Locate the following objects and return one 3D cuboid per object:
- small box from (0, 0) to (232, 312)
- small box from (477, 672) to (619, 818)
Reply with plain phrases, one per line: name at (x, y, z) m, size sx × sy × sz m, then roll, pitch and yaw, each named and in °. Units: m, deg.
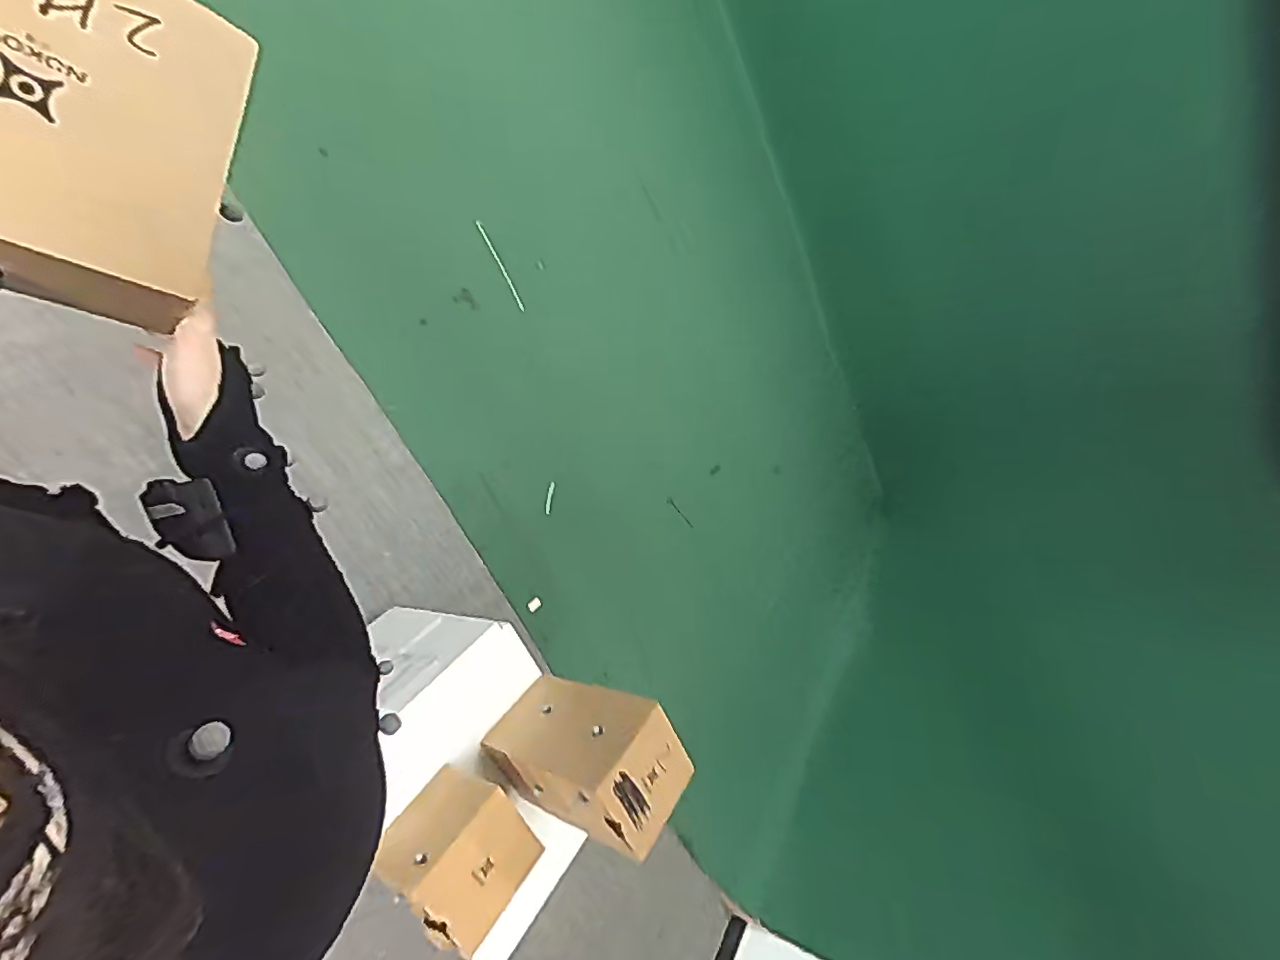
small box at (-0.378, -0.218, 0.325) m, size 0.168 × 0.176 × 0.179 m, roll 14°, pitch 84°, yaw -47°
small box at (-0.179, 0.501, 1.050) m, size 0.179 × 0.176 × 0.168 m, roll -43°, pitch 116°, yaw -41°
